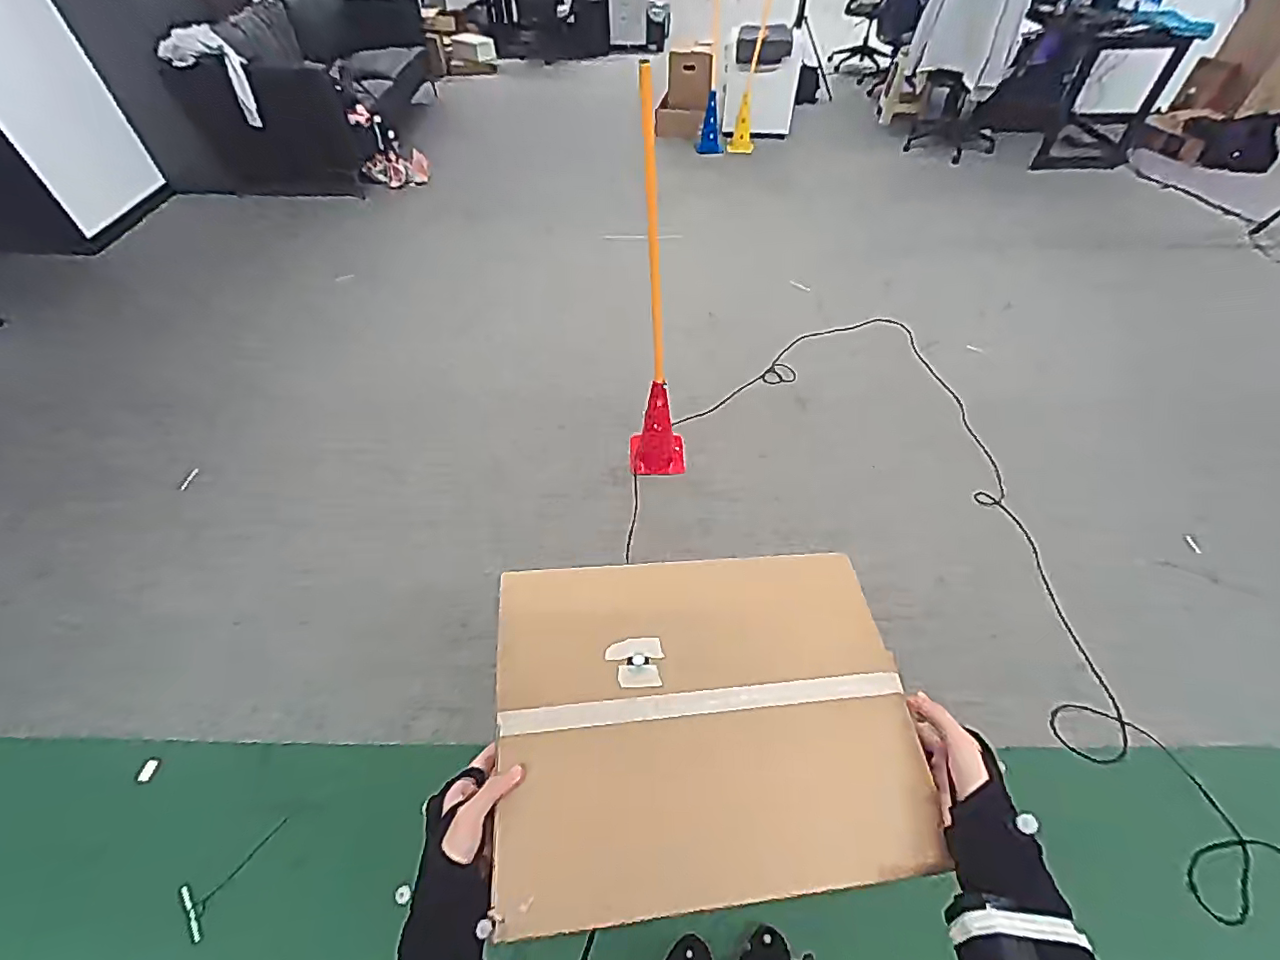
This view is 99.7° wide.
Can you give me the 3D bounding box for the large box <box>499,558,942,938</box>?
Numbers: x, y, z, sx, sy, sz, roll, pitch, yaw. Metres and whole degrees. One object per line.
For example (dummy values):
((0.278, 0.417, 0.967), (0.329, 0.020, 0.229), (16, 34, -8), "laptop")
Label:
((0.053, 0.315, 0.667), (0.408, 0.320, 0.320), (-3, 55, -8), "large box")
